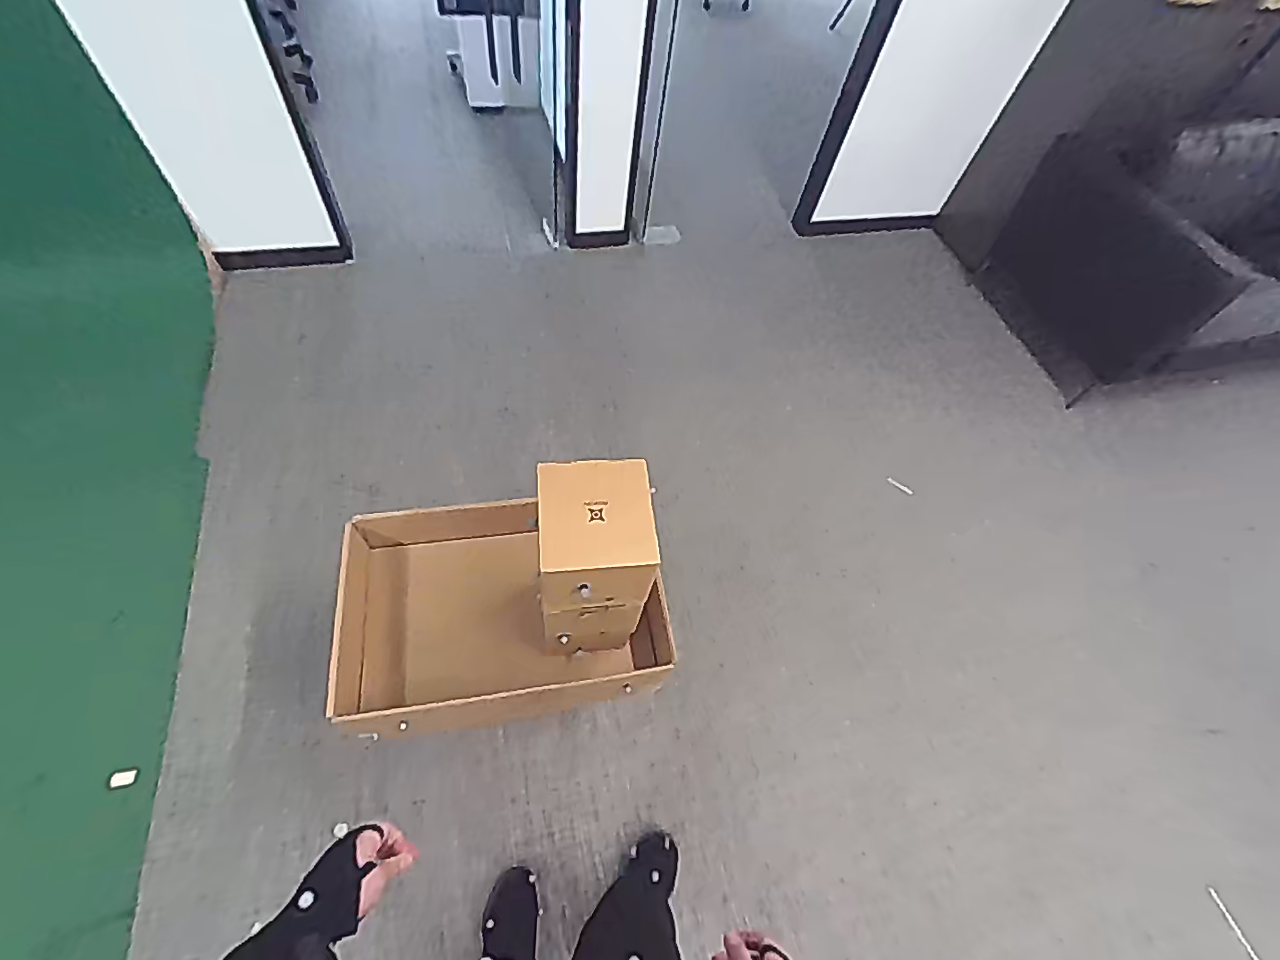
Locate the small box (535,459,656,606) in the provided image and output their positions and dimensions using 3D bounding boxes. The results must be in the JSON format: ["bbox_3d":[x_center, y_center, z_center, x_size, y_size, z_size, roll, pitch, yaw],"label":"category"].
[{"bbox_3d":[-0.073,0.088,0.836,0.168,0.176,0.179,-3,58,-9],"label":"small box"}]

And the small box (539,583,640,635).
[{"bbox_3d":[-0.095,0.172,0.973,0.168,0.176,0.179,-3,58,-9],"label":"small box"}]
